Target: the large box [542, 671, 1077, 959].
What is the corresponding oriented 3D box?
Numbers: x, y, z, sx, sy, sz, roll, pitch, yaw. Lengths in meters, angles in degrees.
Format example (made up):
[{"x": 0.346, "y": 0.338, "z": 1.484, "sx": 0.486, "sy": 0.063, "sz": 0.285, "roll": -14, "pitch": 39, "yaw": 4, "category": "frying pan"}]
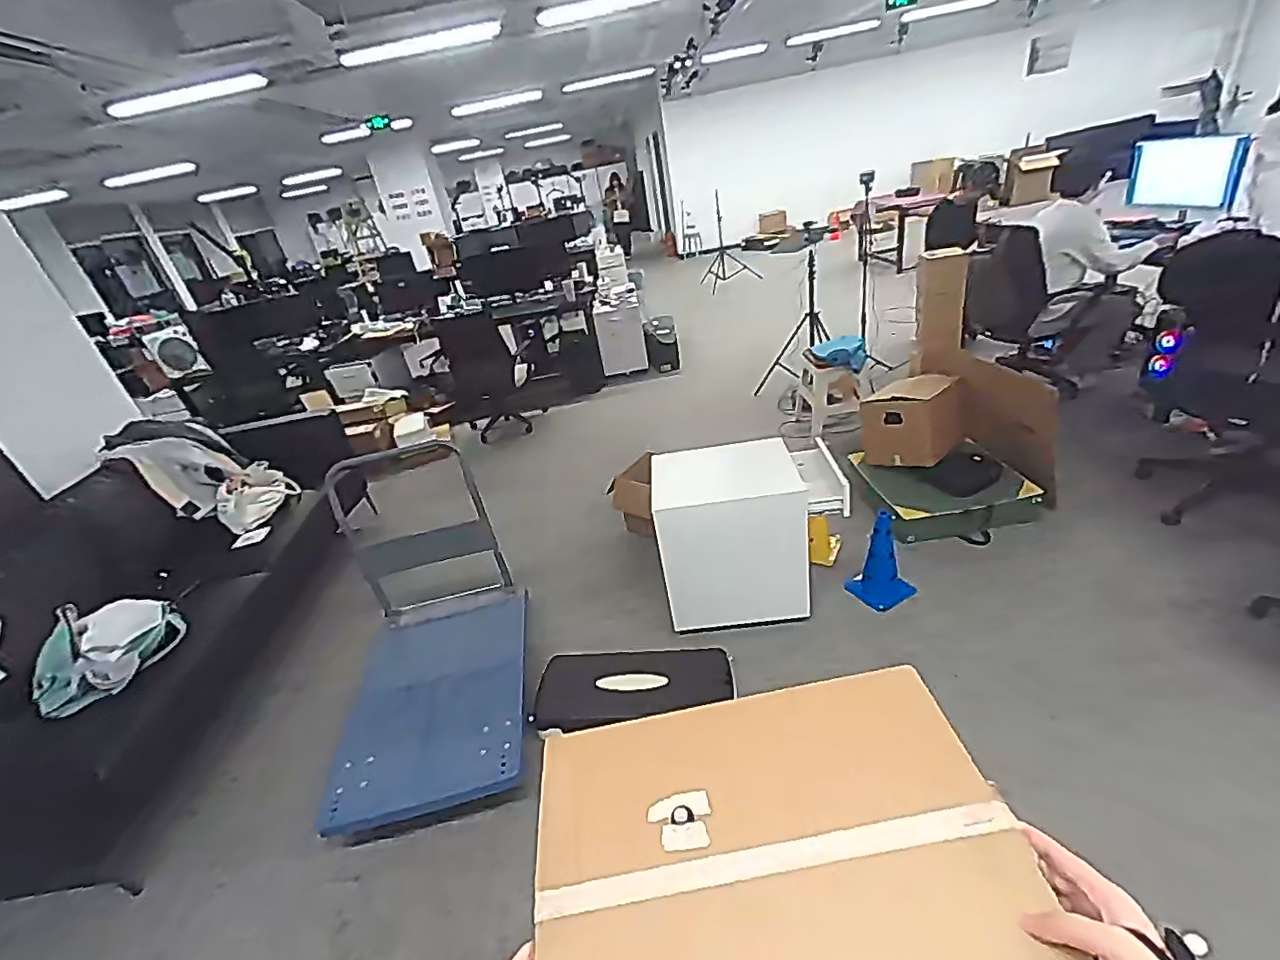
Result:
[{"x": 0.143, "y": 0.454, "z": 0.548, "sx": 0.408, "sy": 0.320, "sz": 0.320, "roll": -14, "pitch": 33, "yaw": 3, "category": "large box"}]
